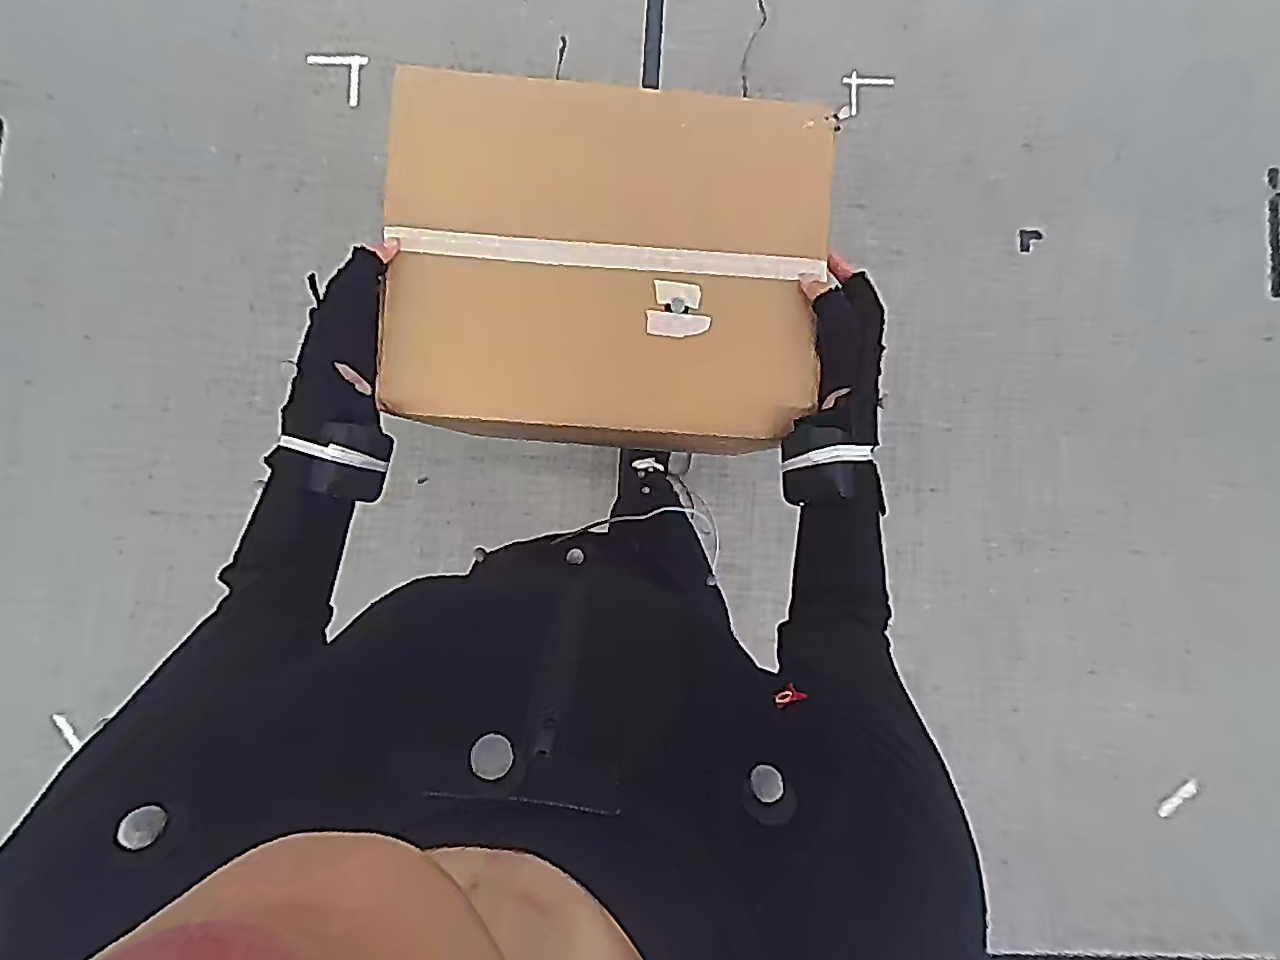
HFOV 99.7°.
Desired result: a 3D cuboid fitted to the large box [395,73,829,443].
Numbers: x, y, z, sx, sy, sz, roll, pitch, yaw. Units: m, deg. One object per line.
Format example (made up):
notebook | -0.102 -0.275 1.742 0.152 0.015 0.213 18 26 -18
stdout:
large box | -0.032 -0.218 0.661 0.408 0.320 0.320 4 91 -3
